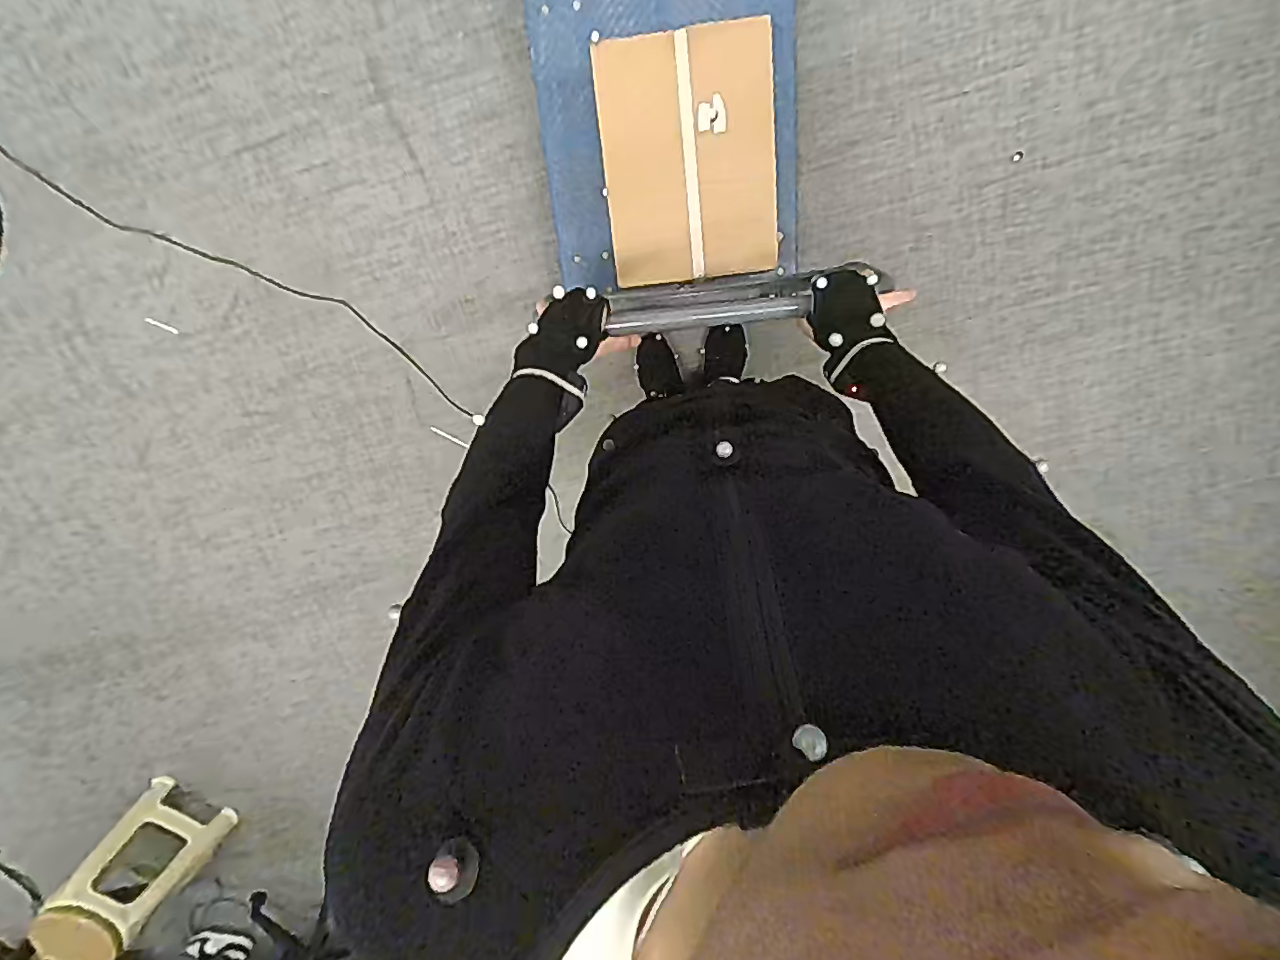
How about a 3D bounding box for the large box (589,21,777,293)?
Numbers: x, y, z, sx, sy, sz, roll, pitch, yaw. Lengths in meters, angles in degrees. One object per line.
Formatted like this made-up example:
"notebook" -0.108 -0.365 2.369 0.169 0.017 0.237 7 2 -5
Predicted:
"large box" 0.091 -0.623 1.129 0.320 0.320 0.408 -6 108 3
